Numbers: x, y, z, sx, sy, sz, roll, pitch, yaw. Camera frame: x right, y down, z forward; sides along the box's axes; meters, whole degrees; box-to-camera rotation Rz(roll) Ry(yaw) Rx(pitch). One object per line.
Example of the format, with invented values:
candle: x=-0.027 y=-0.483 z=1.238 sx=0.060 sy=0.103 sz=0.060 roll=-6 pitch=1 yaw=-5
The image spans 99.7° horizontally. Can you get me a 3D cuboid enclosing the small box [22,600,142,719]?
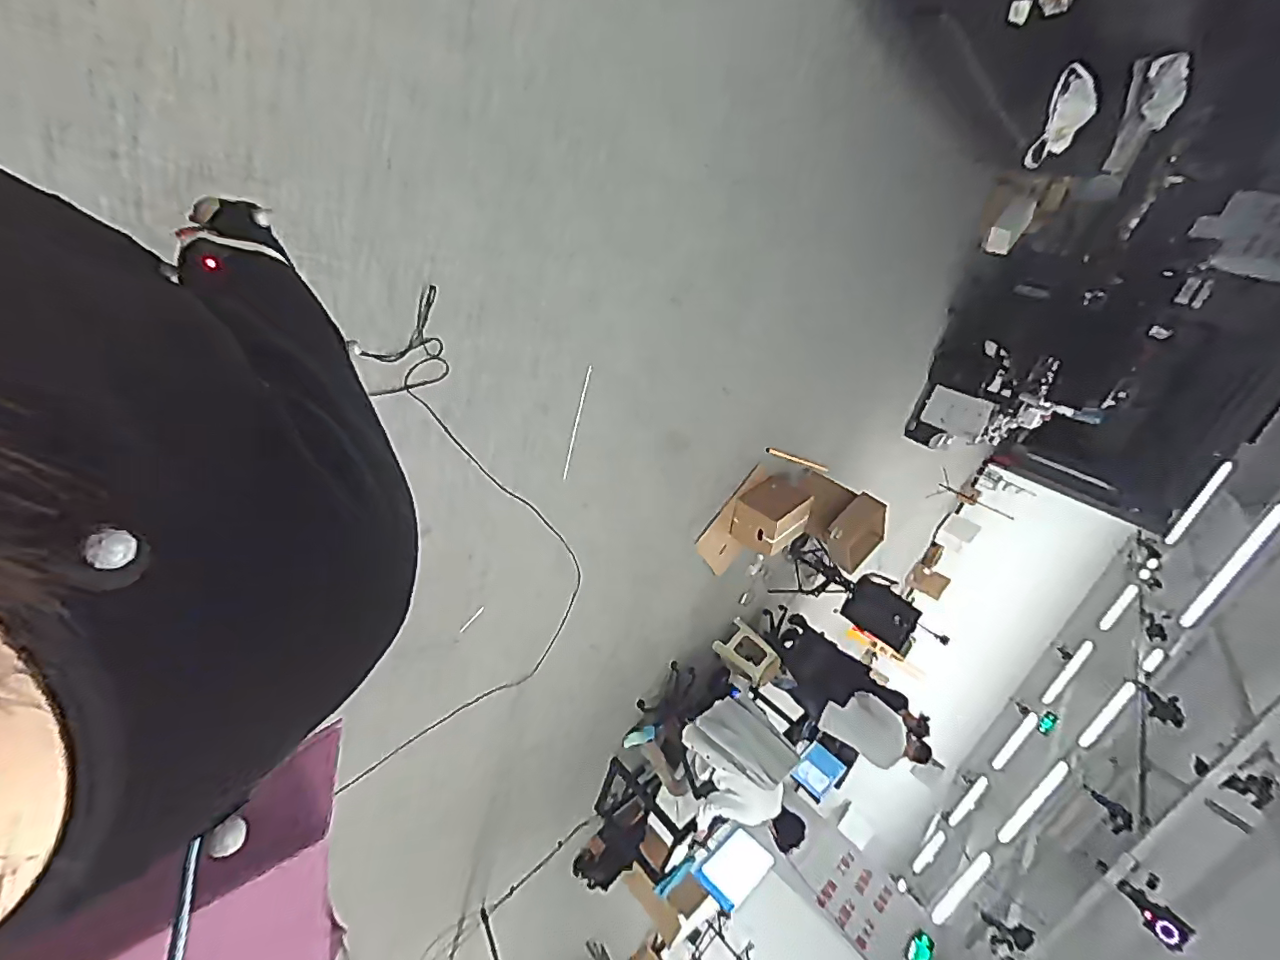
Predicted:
small box: x=-1.267 y=0.394 z=1.230 sx=0.168 sy=0.176 sz=0.179 roll=-10 pitch=124 yaw=-48
